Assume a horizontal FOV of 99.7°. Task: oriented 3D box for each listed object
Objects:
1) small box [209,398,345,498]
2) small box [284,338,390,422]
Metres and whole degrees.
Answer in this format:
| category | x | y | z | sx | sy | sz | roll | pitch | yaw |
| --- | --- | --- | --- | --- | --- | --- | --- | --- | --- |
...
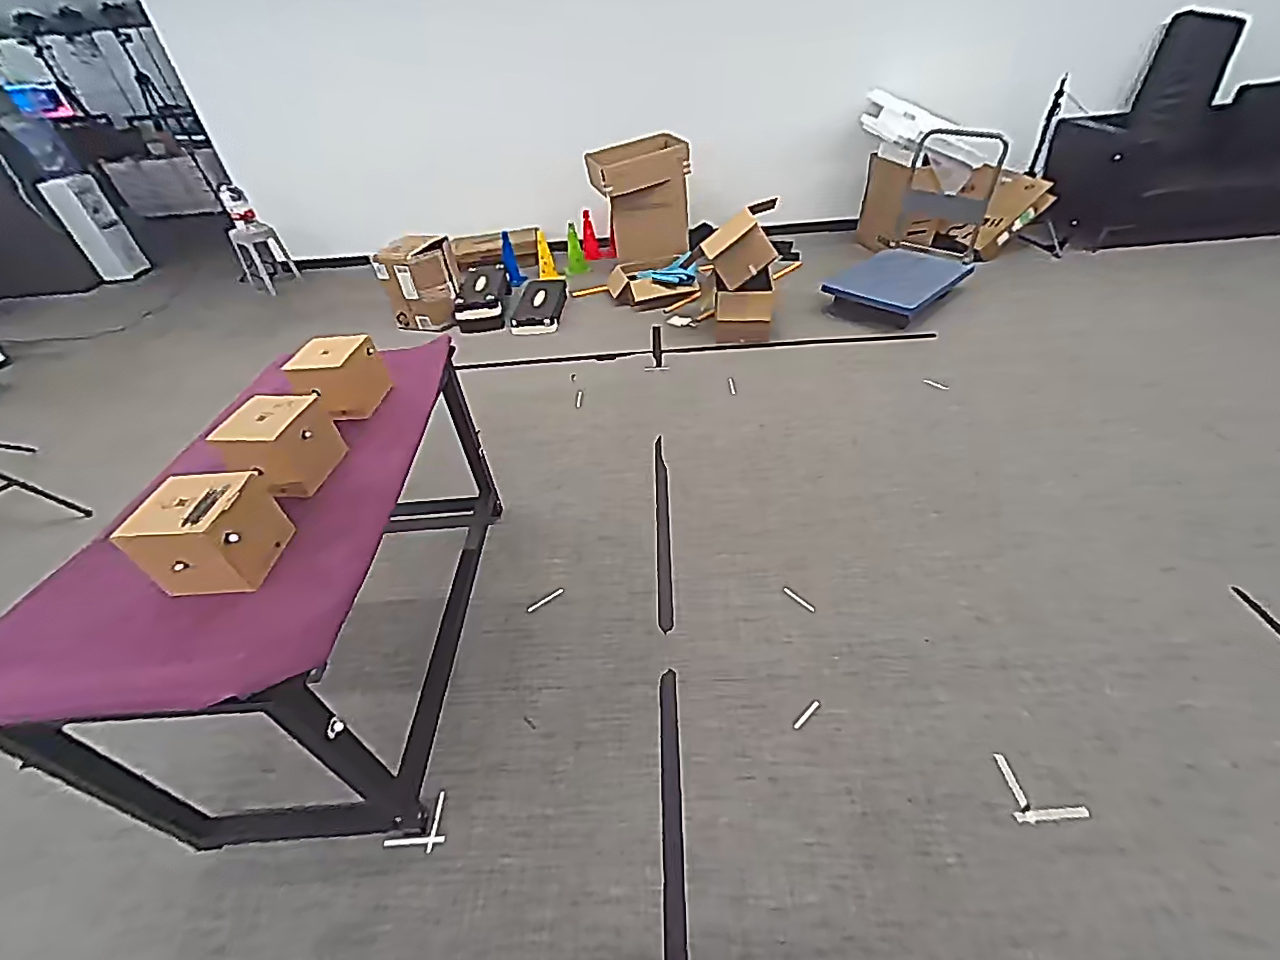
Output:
| category | x | y | z | sx | sy | sz | roll | pitch | yaw |
| --- | --- | --- | --- | --- | --- | --- | --- | --- | --- |
| small box | -0.826 | -0.073 | 1.256 | 0.168 | 0.176 | 0.179 | 1 | 41 | 7 |
| small box | -0.817 | -0.269 | 1.483 | 0.168 | 0.176 | 0.179 | -3 | 41 | 5 |
